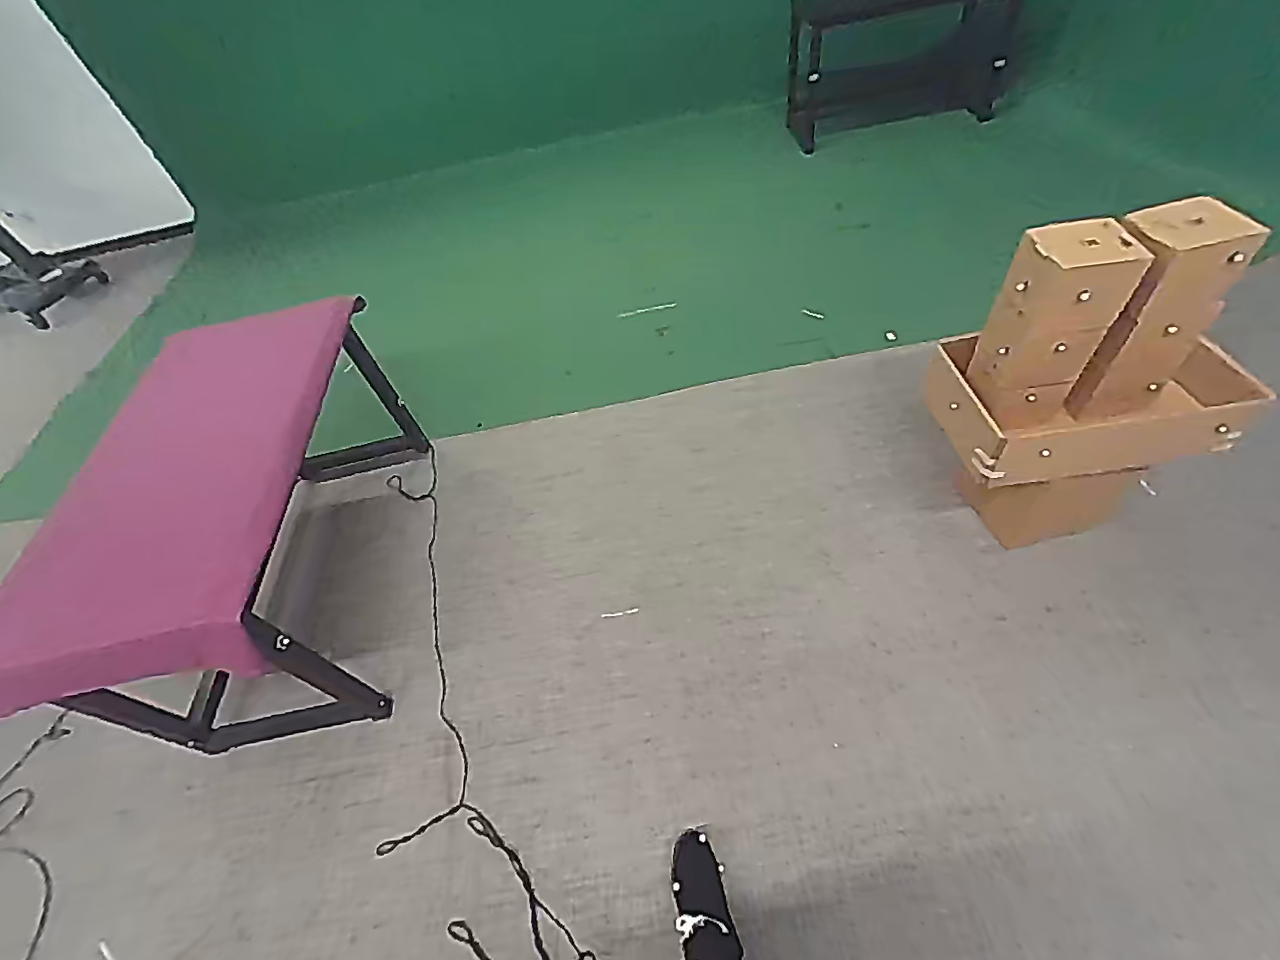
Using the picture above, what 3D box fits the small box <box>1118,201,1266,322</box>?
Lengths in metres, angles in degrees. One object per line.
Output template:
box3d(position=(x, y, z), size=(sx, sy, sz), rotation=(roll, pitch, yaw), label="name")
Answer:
box3d(position=(1.159, -0.474, 1.182), size=(0.179, 0.176, 0.168), rotation=(-11, 50, 5), label="small box")

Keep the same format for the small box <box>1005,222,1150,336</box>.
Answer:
box3d(position=(0.942, -0.436, 1.191), size=(0.179, 0.176, 0.168), rotation=(-6, 52, 7), label="small box")

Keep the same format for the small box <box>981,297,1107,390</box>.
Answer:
box3d(position=(0.965, -0.338, 1.320), size=(0.179, 0.176, 0.168), rotation=(-6, 51, 6), label="small box")

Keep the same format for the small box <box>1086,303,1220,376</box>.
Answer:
box3d(position=(1.204, -0.376, 1.308), size=(0.179, 0.176, 0.168), rotation=(-10, 51, 7), label="small box")

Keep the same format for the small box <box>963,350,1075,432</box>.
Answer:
box3d(position=(0.998, -0.245, 1.449), size=(0.179, 0.176, 0.168), rotation=(-7, 51, 4), label="small box")
